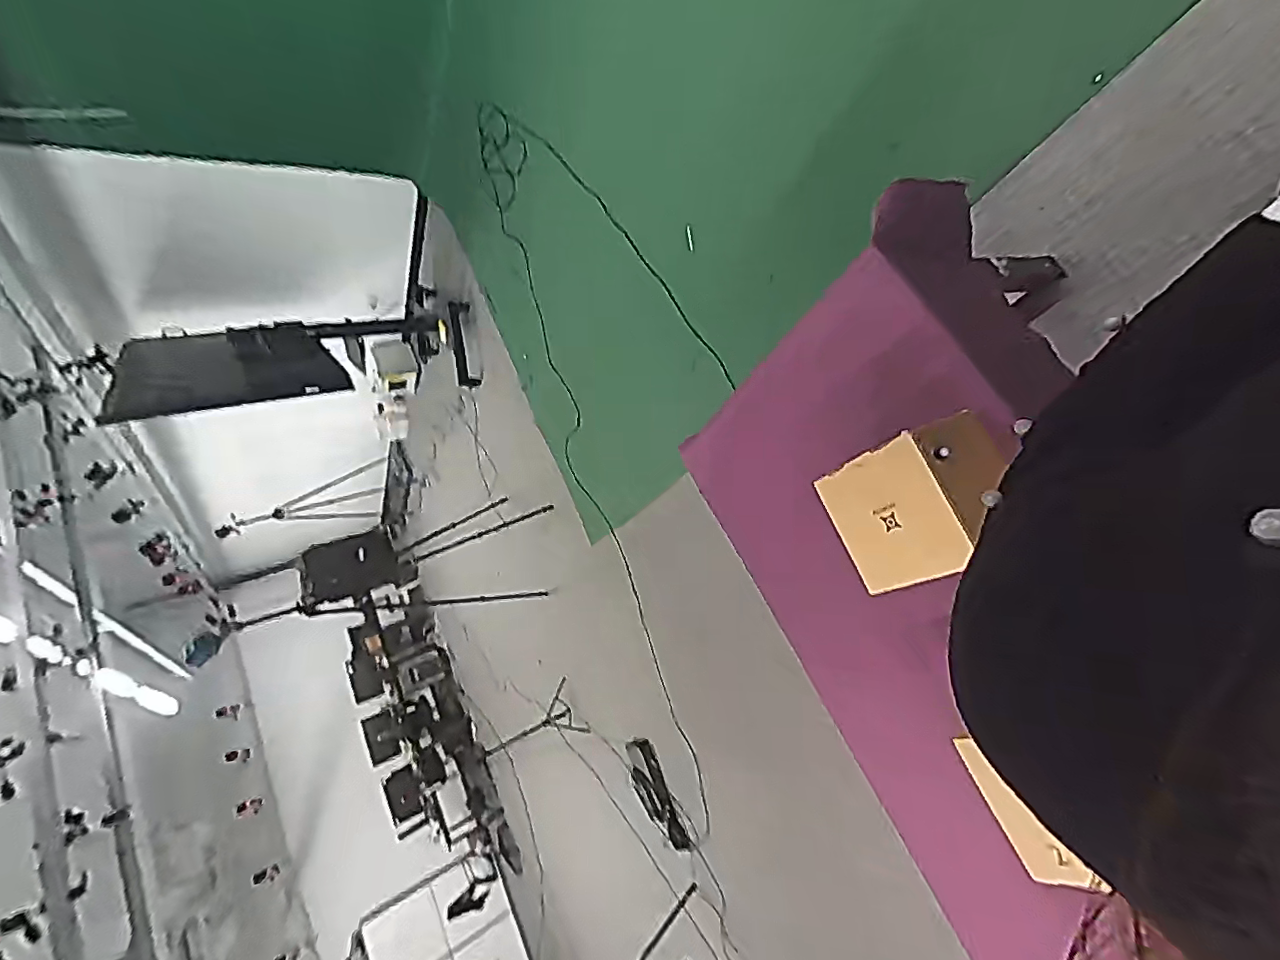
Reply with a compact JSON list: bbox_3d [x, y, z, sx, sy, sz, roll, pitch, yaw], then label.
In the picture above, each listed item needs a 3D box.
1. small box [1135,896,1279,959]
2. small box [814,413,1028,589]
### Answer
[{"bbox_3d":[0.678,0.598,0.569,0.168,0.176,0.179,-39,70,54],"label":"small box"},{"bbox_3d":[0.387,0.027,0.750,0.168,0.176,0.179,-40,70,54],"label":"small box"}]
